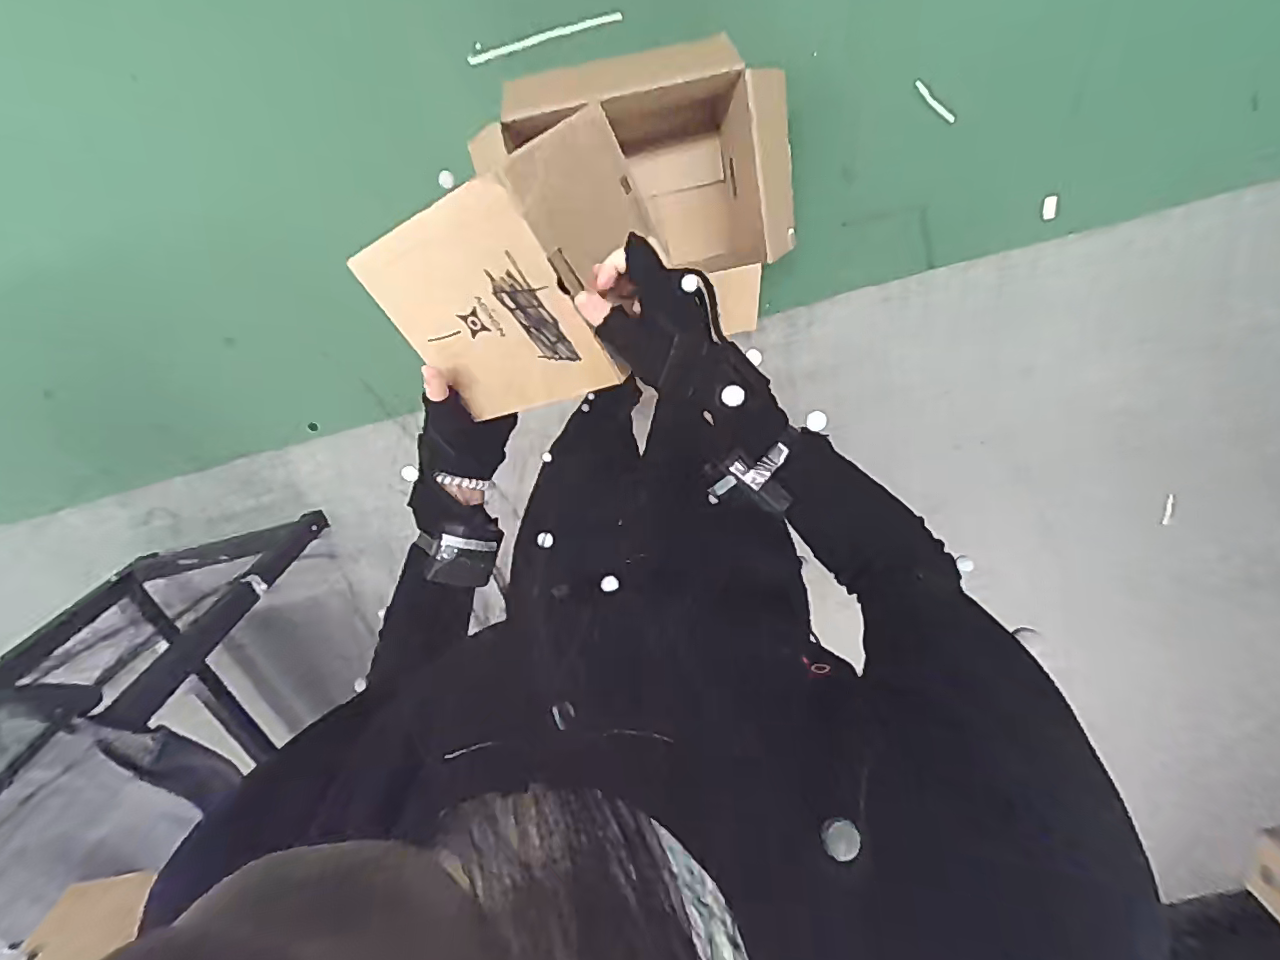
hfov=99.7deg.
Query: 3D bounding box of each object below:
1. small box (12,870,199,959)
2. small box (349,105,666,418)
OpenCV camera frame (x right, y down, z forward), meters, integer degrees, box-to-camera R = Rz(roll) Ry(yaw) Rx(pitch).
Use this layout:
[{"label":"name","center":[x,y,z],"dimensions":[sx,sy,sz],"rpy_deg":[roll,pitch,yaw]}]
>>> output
[{"label":"small box","center":[-0.981,0.856,0.990],"dimensions":[0.179,0.176,0.168],"rpy_deg":[-12,117,3]},{"label":"small box","center":[-0.092,-0.179,0.462],"dimensions":[0.179,0.176,0.168],"rpy_deg":[-6,132,33]}]
